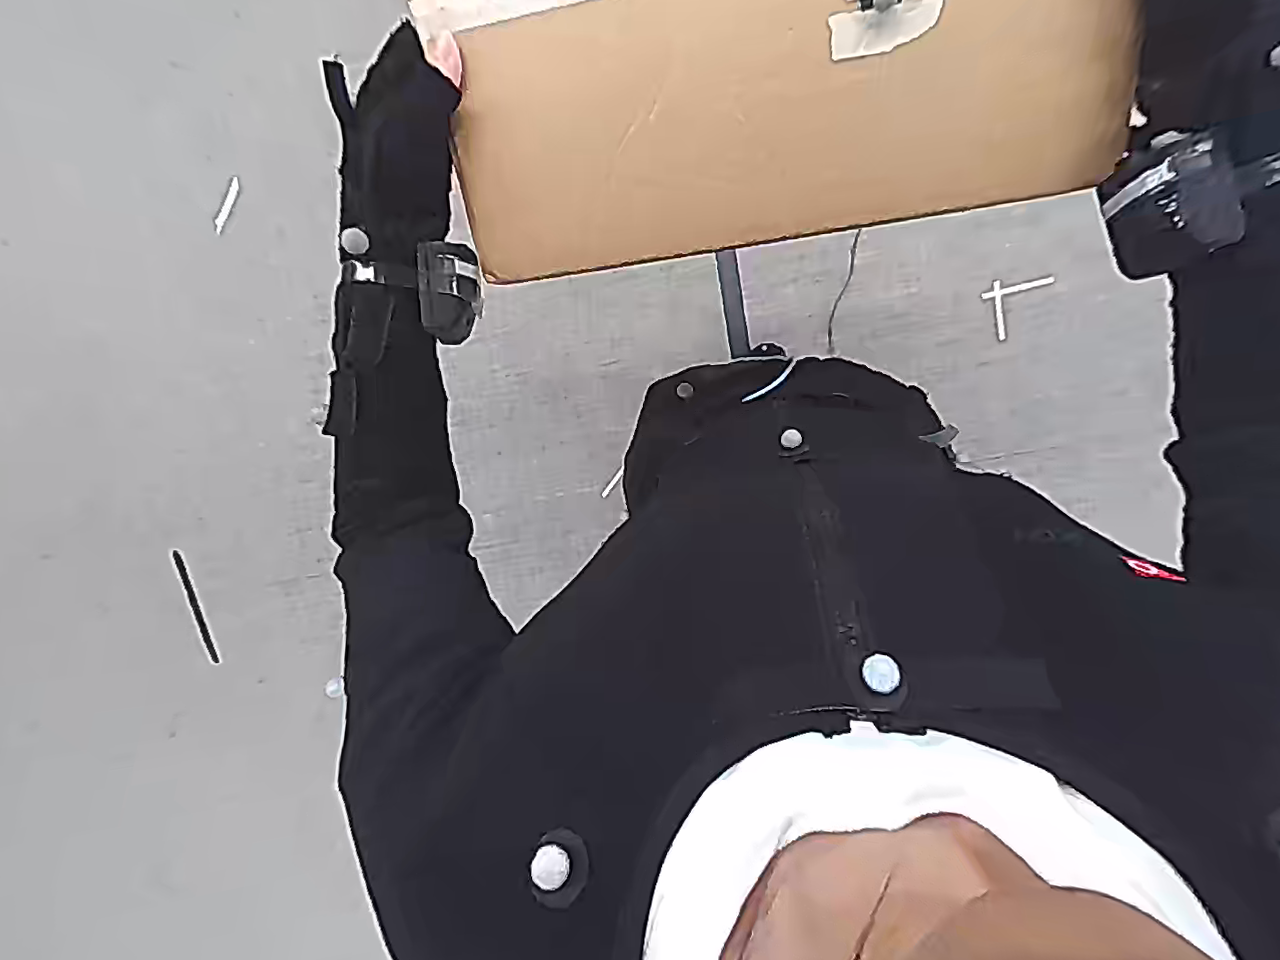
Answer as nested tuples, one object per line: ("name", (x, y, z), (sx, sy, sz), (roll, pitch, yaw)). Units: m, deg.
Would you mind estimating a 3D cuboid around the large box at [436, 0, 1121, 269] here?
("large box", (0.080, -0.376, 0.444), (0.408, 0.320, 0.320), (-6, 114, 10))
